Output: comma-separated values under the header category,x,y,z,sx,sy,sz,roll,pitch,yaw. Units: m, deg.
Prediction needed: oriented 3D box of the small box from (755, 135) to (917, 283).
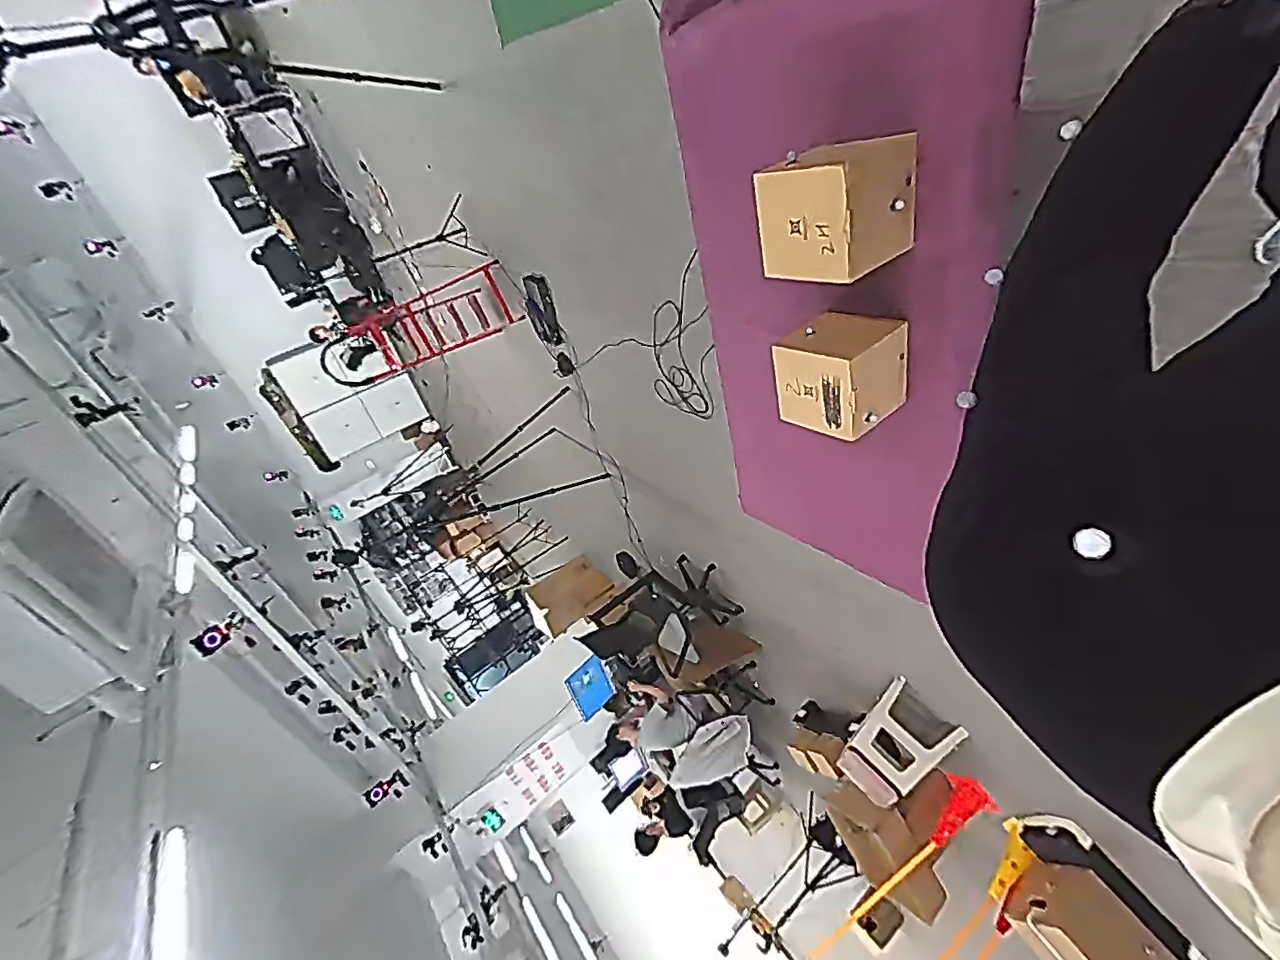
category,x,y,z,sx,sy,sz,roll,pitch,yaw
small box,0.314,-0.437,0.875,0.179,0.176,0.168,30,146,47
